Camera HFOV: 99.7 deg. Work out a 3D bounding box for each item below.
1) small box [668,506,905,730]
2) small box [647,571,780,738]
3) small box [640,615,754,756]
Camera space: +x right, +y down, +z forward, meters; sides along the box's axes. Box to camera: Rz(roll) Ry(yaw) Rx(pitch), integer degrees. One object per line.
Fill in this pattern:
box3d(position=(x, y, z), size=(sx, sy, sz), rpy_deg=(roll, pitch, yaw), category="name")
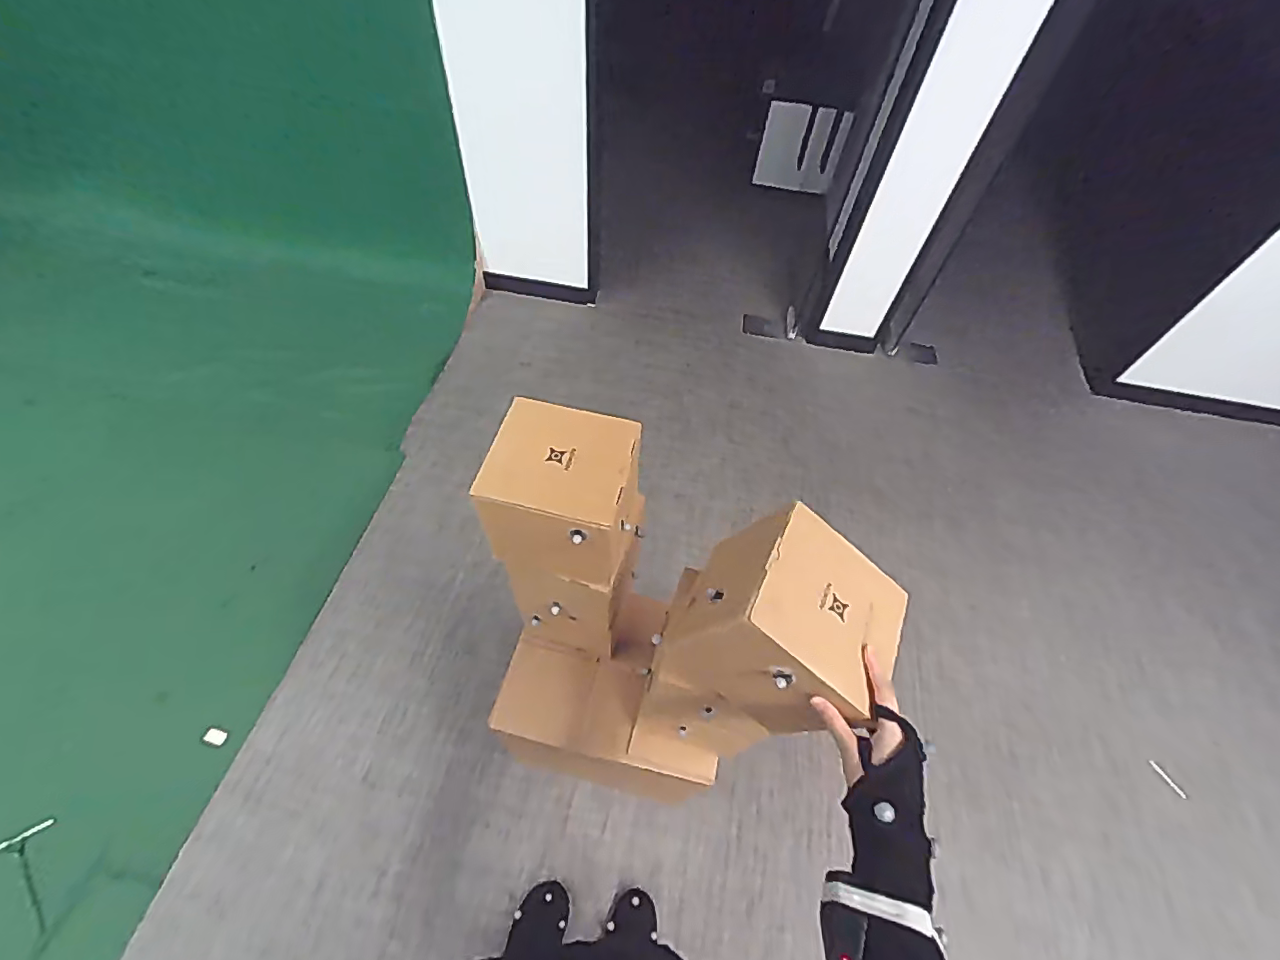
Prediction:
box3d(position=(0.161, 0.167, 0.619), size=(0.179, 0.176, 0.168), rpy_deg=(41, 52, -6), category="small box")
box3d(position=(0.118, 0.261, 0.789), size=(0.179, 0.176, 0.168), rpy_deg=(15, 55, 6), category="small box")
box3d(position=(0.103, 0.355, 0.922), size=(0.179, 0.176, 0.168), rpy_deg=(14, 57, 6), category="small box")
